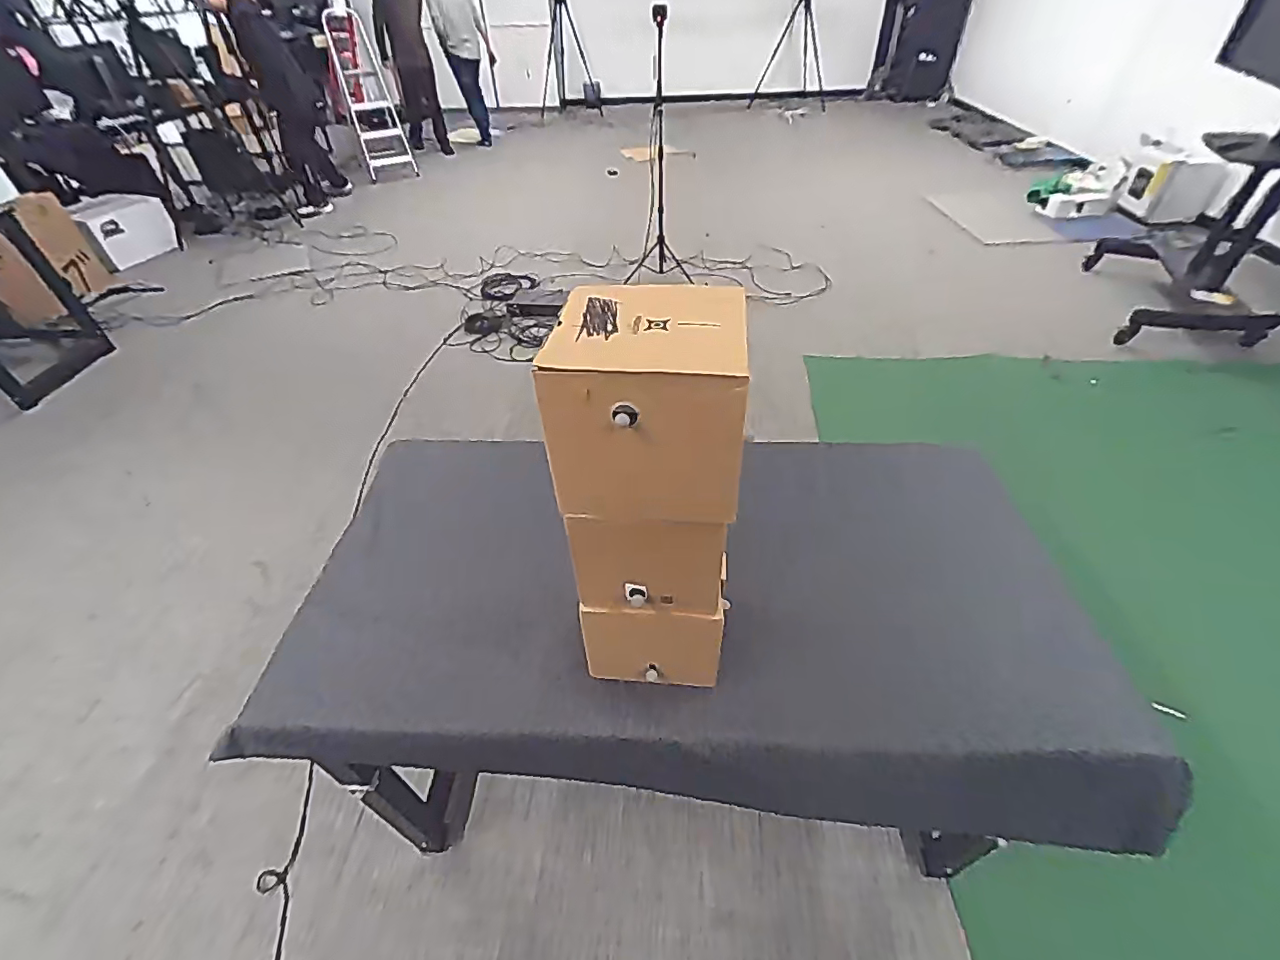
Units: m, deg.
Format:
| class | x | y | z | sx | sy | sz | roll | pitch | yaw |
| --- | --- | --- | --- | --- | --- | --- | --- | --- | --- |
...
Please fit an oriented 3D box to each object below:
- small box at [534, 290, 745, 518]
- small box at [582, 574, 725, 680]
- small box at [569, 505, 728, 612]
| class | x | y | z | sx | sy | sz | roll | pitch | yaw |
| --- | --- | --- | --- | --- | --- | --- | --- | --- | --- |
| small box | 0.011 | -0.077 | 0.546 | 0.179 | 0.176 | 0.168 | 3 | 43 | 7 |
| small box | 0.024 | 0.165 | 0.764 | 0.179 | 0.176 | 0.168 | 3 | 42 | 5 |
| small box | 0.017 | 0.039 | 0.662 | 0.168 | 0.176 | 0.179 | 0 | 44 | 5 |
